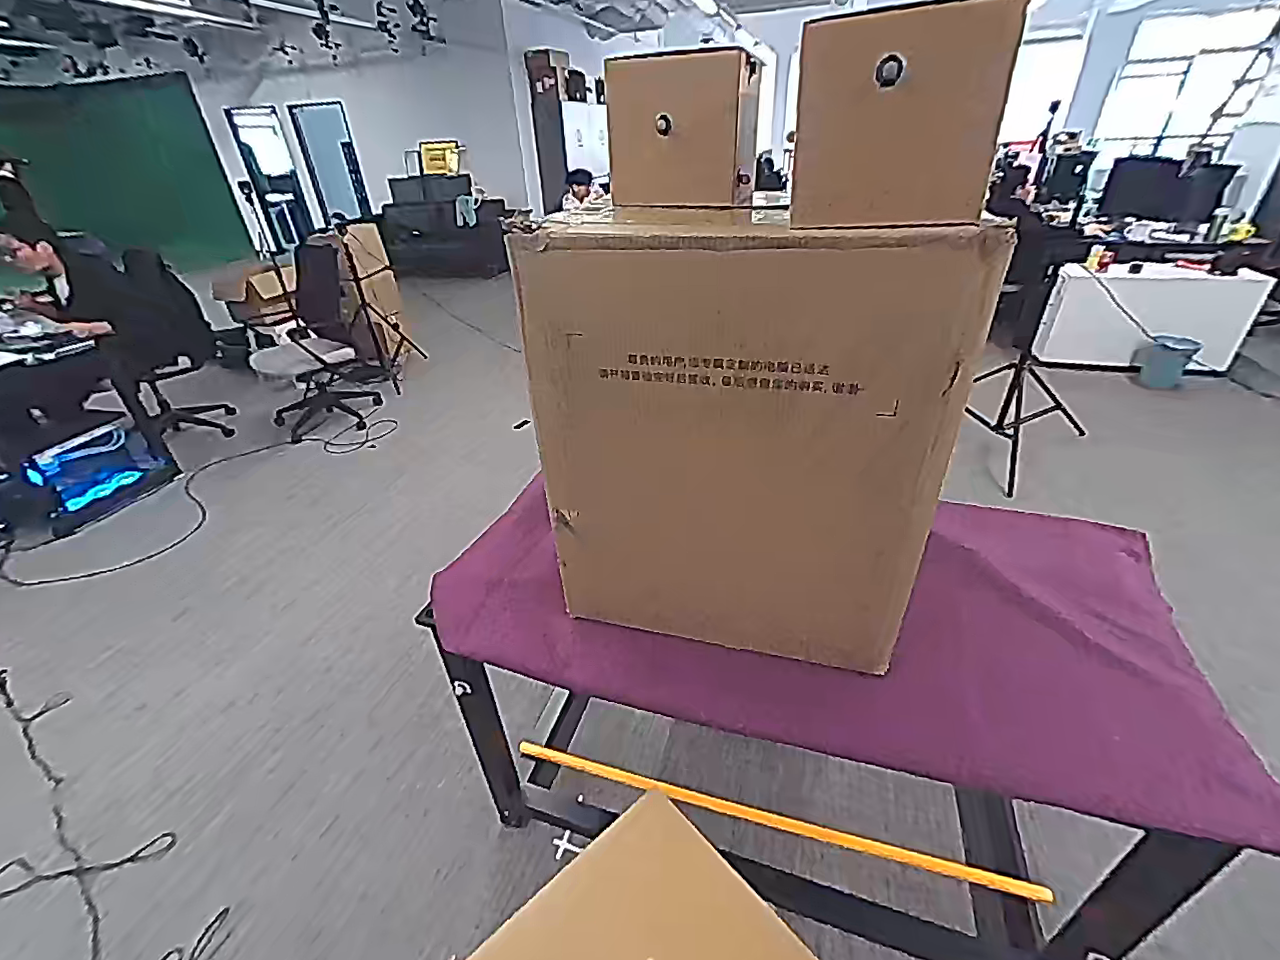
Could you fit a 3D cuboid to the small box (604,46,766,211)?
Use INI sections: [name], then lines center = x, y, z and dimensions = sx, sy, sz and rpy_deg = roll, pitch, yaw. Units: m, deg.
[small box]
center = 0.067, -0.478, 0.750
dimensions = 0.179, 0.176, 0.168
rpy_deg = 9, 32, 20
